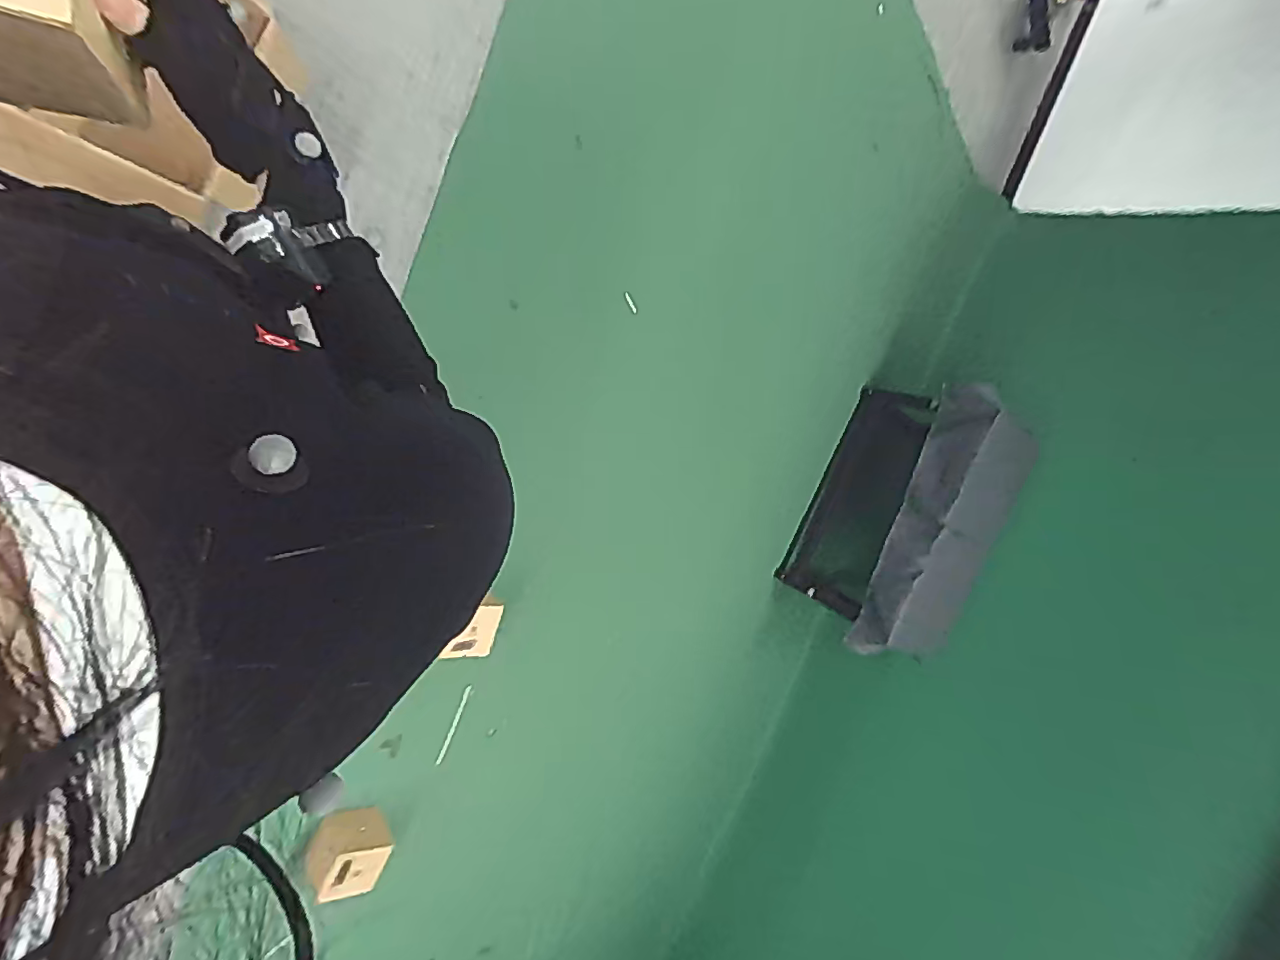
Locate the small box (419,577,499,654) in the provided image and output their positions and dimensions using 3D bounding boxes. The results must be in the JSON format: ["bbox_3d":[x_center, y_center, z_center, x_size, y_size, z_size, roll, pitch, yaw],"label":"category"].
[{"bbox_3d":[-0.578,0.426,1.707,0.168,0.176,0.179,14,98,-45],"label":"small box"}]

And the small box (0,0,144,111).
[{"bbox_3d":[-0.364,-0.298,0.247,0.179,0.176,0.168,-6,109,-30],"label":"small box"}]
